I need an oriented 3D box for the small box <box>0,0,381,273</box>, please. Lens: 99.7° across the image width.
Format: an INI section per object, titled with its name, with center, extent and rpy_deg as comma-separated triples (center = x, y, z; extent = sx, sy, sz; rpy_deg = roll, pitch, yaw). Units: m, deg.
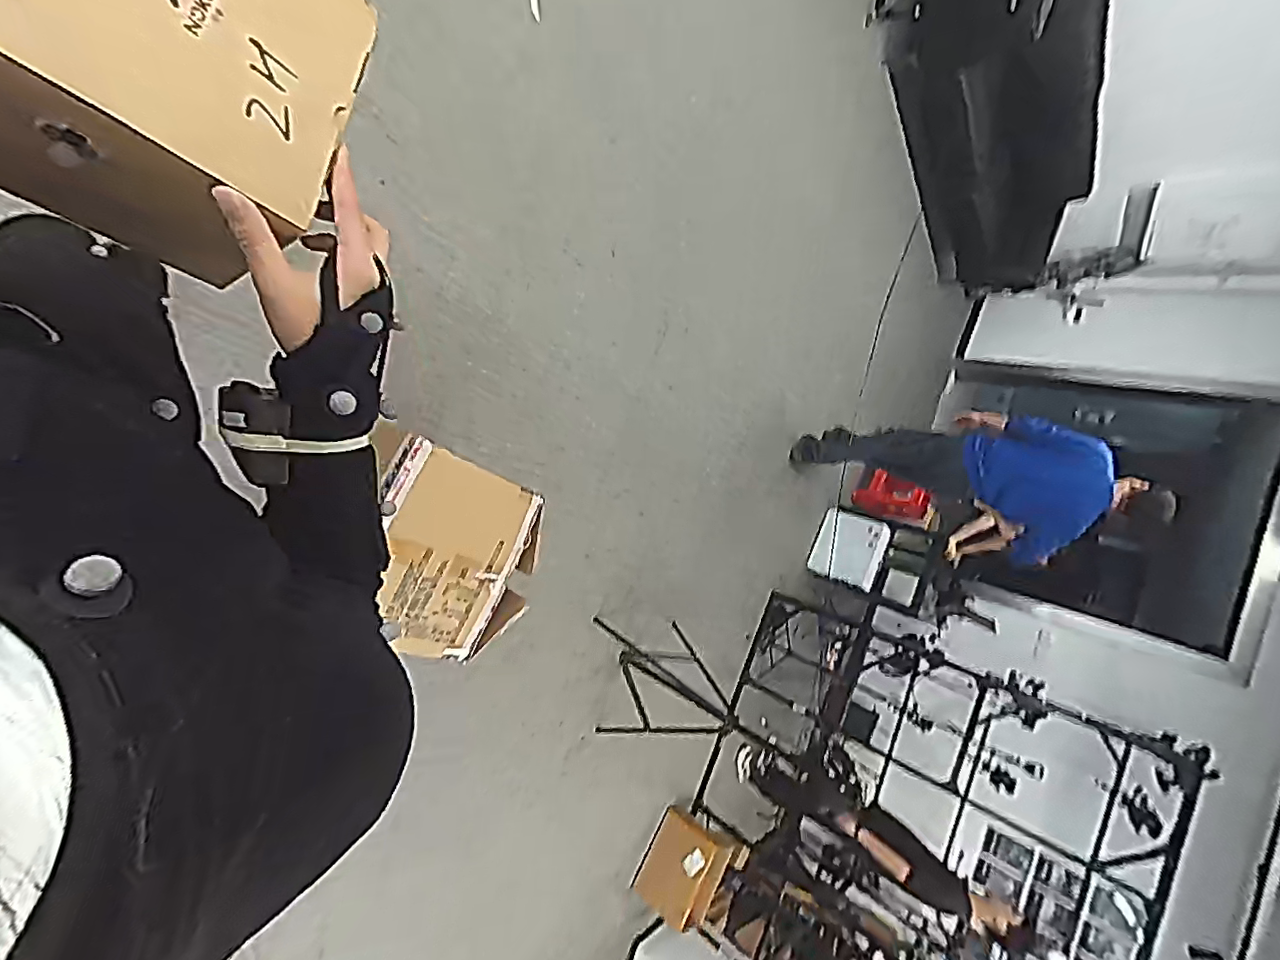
[small box]
center = -0.298, -0.250, 0.325
extent = 0.179, 0.176, 0.168
rpy_deg = 24, 73, -50
